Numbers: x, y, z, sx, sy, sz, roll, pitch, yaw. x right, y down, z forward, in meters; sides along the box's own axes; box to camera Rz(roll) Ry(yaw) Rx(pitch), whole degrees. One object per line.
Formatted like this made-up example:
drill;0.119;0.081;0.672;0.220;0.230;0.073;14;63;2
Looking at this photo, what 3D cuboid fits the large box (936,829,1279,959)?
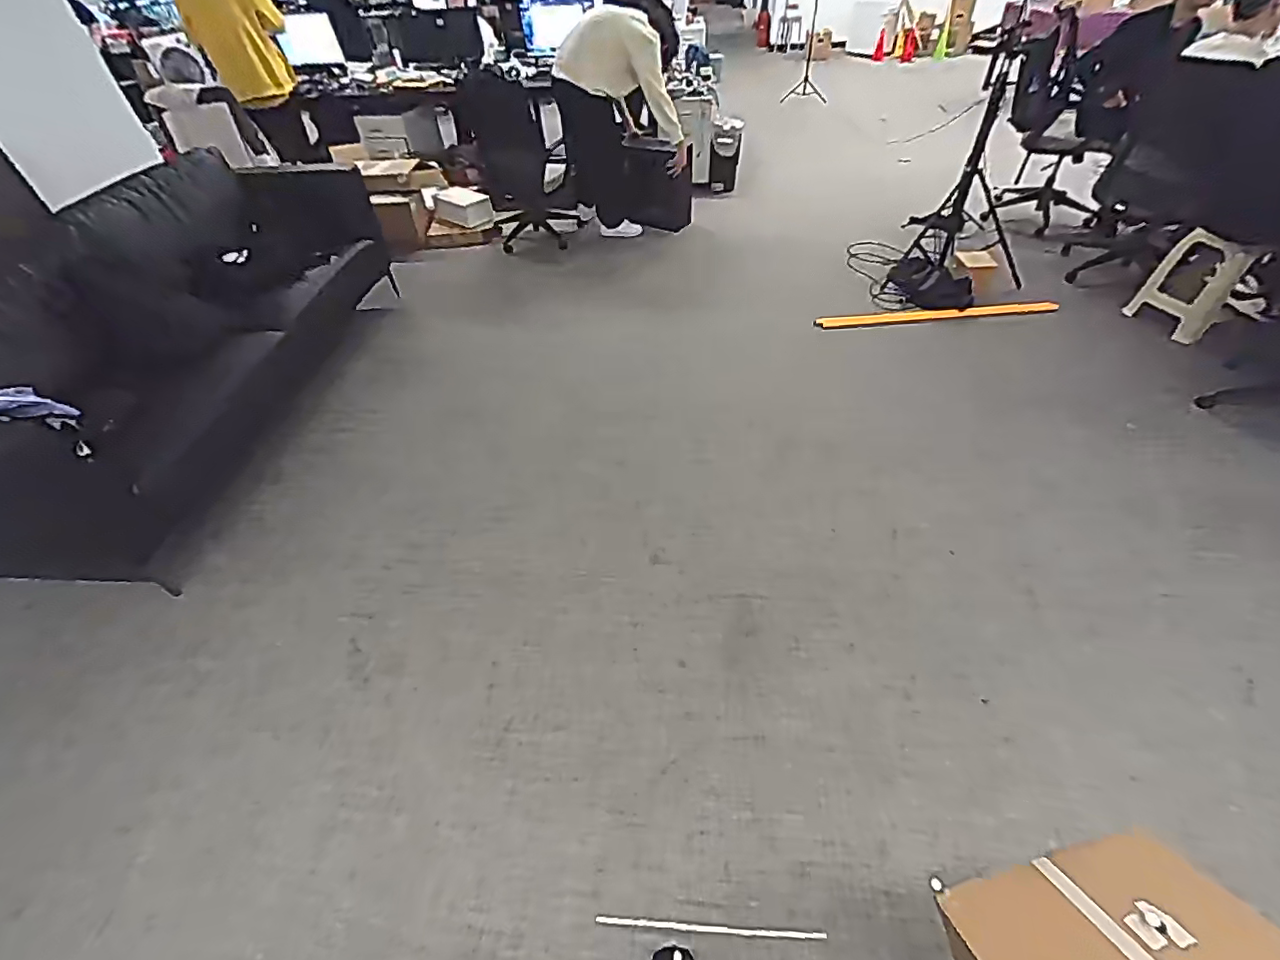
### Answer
large box;0.623;0.701;0.592;0.320;0.320;0.408;-17;2;0
